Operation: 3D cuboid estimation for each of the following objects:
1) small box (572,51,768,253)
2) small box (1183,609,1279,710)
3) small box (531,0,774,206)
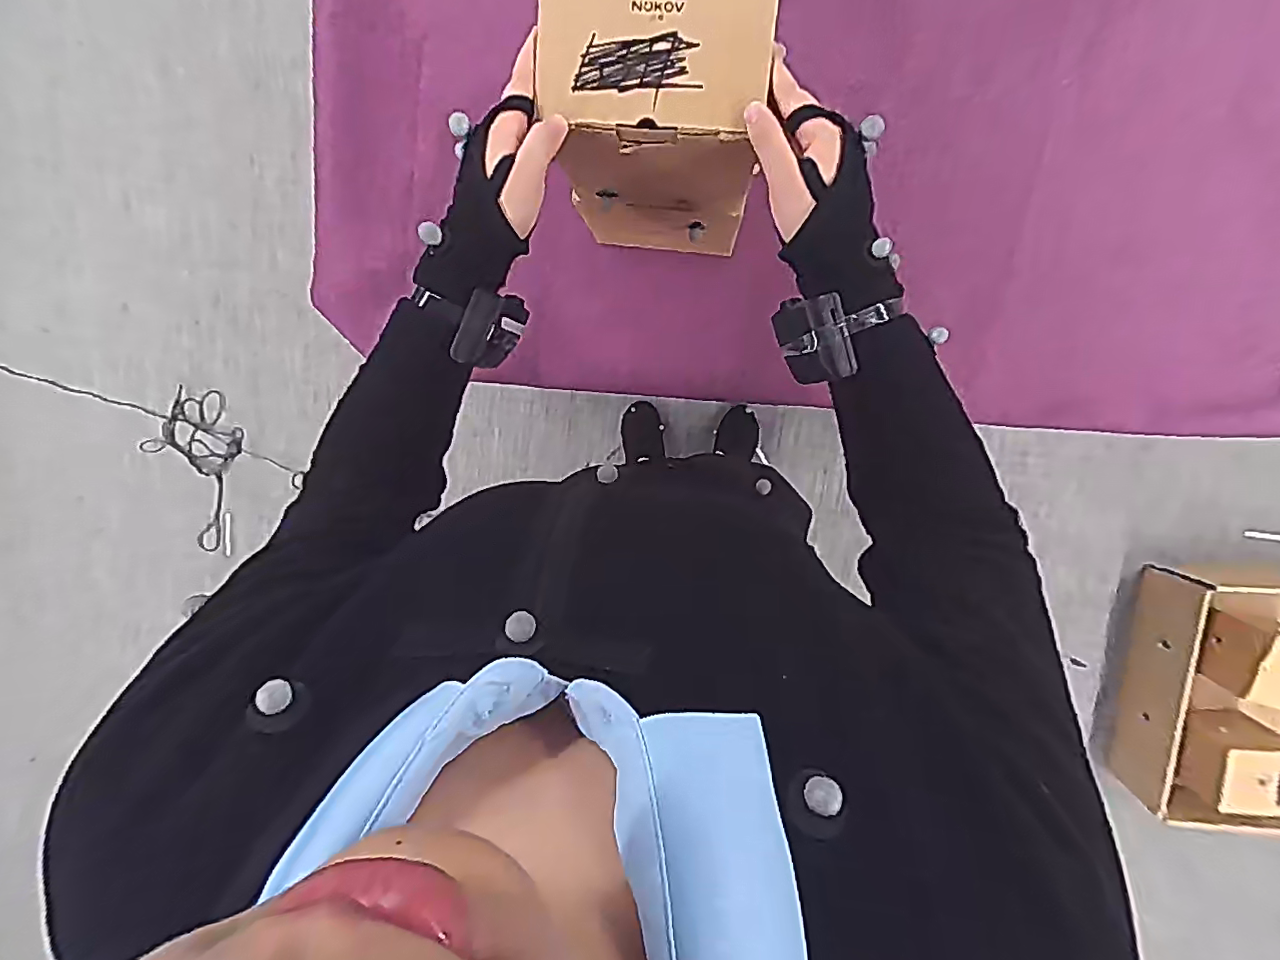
[{"bbox_3d":[0.033,-0.363,0.605,0.179,0.176,0.168,8,100,5],"label":"small box"},{"bbox_3d":[1.480,0.427,1.286,0.179,0.176,0.168,12,102,3],"label":"small box"},{"bbox_3d":[0.018,-0.343,0.442,0.168,0.176,0.179,6,100,4],"label":"small box"}]
